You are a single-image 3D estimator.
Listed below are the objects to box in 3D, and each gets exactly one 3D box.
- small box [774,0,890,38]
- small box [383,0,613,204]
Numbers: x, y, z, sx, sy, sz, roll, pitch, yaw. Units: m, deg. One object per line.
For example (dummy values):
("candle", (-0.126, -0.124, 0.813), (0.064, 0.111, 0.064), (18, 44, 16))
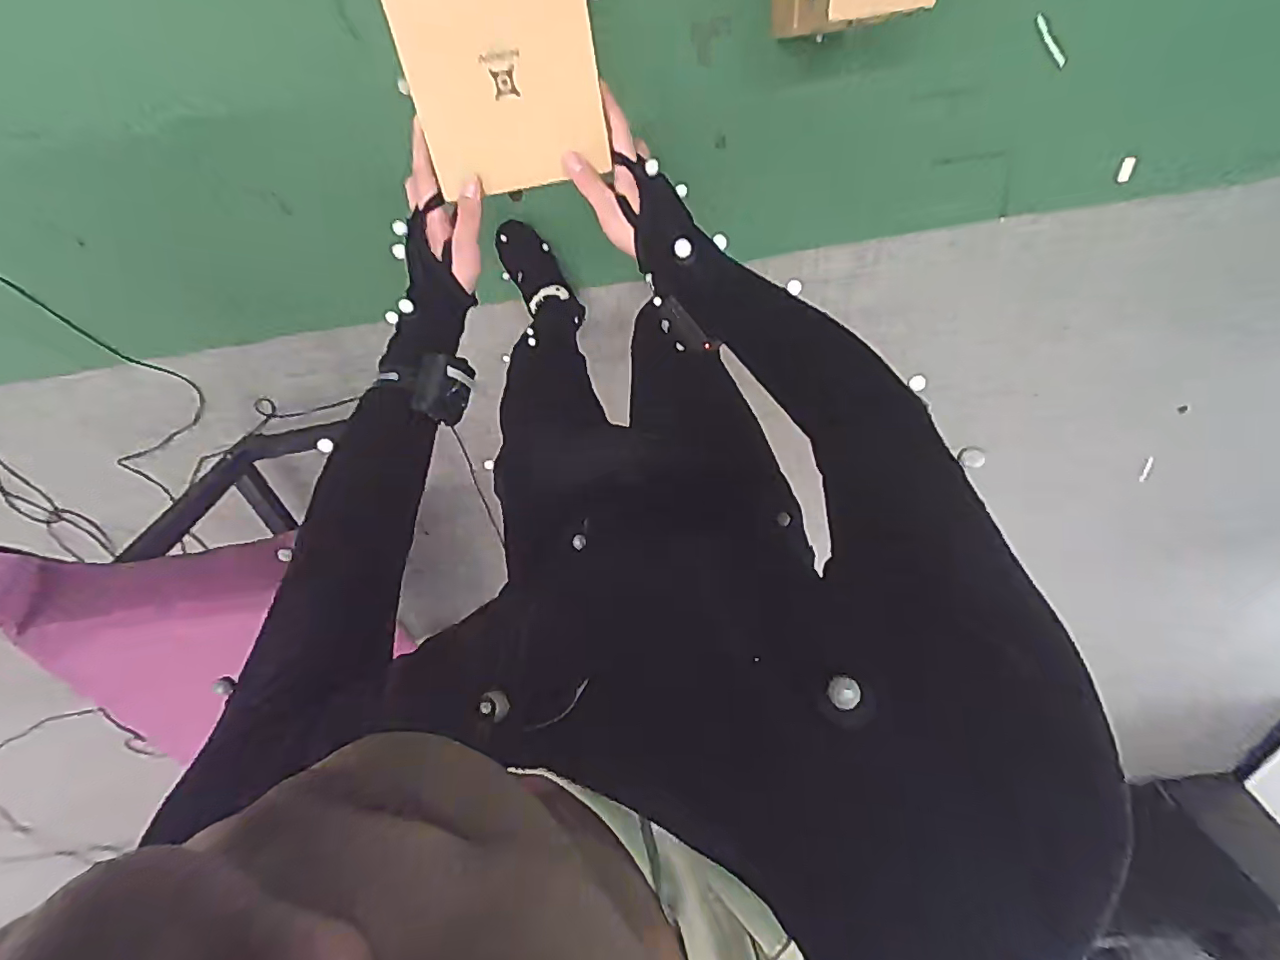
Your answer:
("small box", (0.345, -0.924, 0.975), (0.168, 0.176, 0.179), (-7, 126, 1))
("small box", (-0.123, -0.389, 0.531), (0.168, 0.176, 0.179), (-11, 122, 0))
